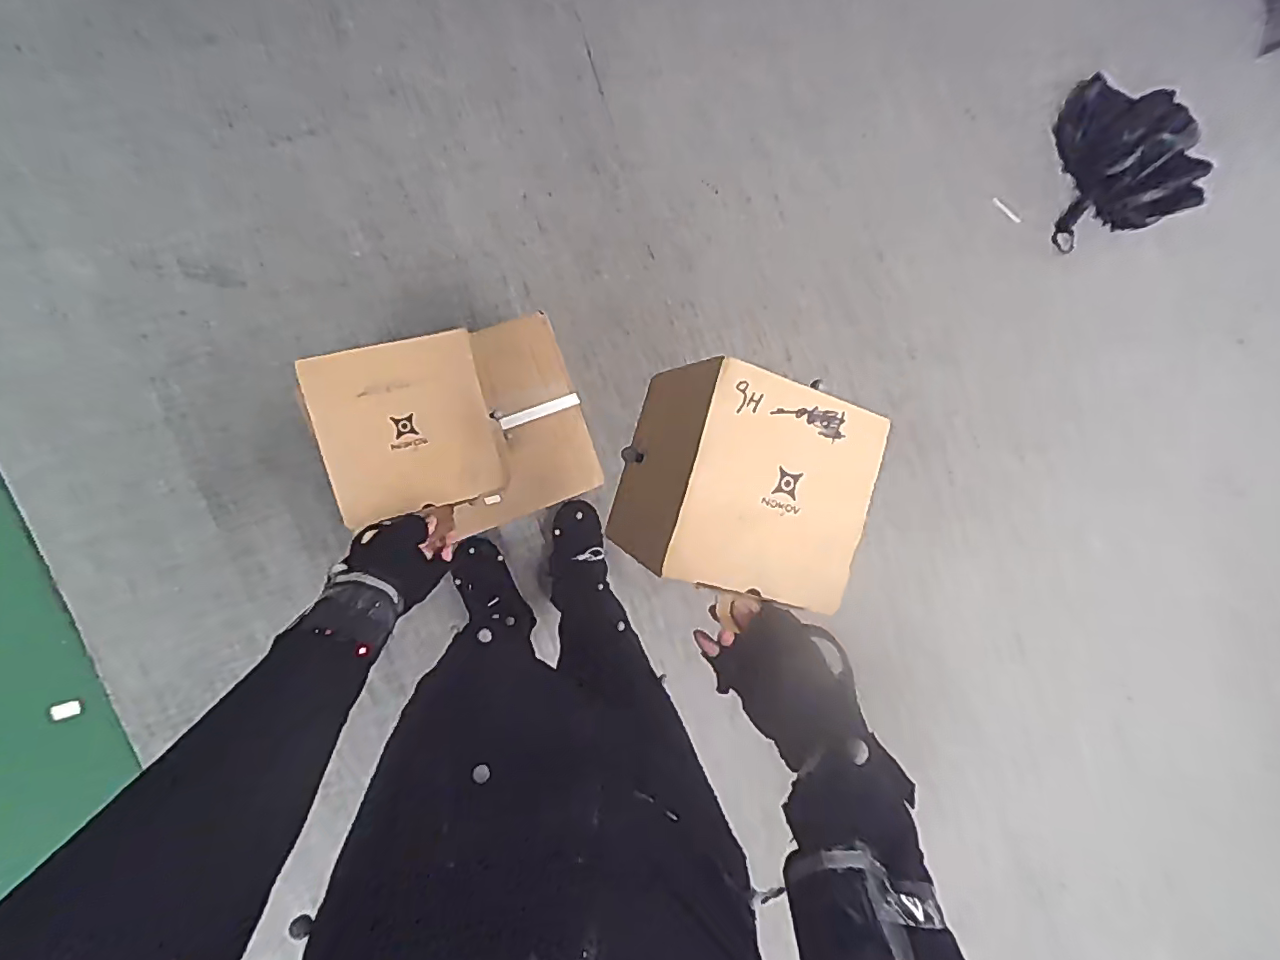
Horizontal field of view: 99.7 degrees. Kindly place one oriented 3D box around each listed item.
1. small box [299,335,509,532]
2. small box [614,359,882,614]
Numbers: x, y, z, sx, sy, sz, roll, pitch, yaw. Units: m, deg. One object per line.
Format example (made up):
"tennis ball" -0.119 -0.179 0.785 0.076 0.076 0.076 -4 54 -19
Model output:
"small box" -0.254 -0.057 0.631 0.168 0.176 0.179 -15 99 -11
"small box" 0.086 0.004 0.513 0.168 0.176 0.179 16 90 -19
